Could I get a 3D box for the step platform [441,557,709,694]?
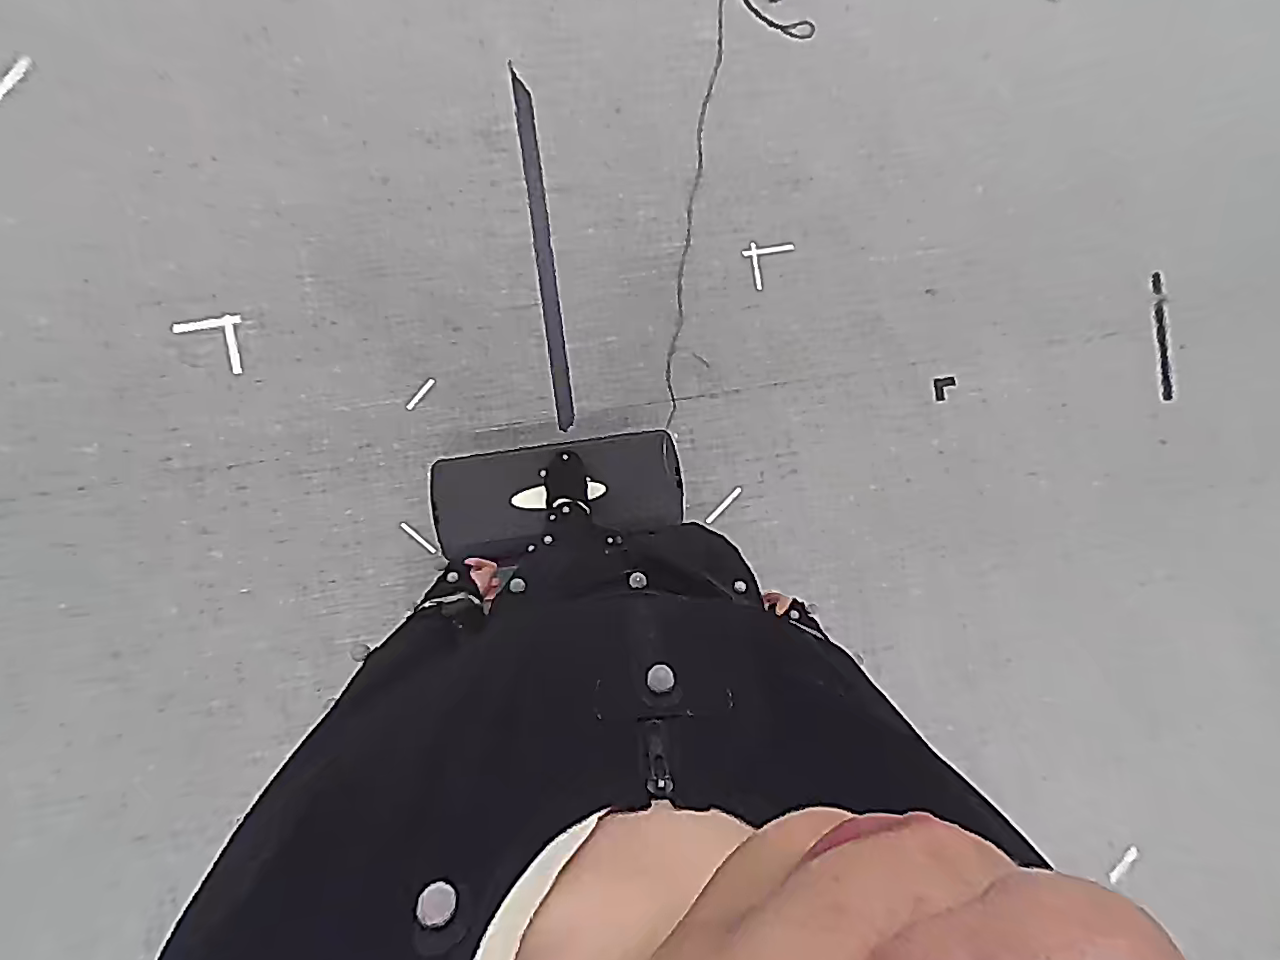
[{"bbox_3d":[-0.161,0.374,1.424,0.684,0.204,0.286,-4,88,-3],"label":"step platform"}]
